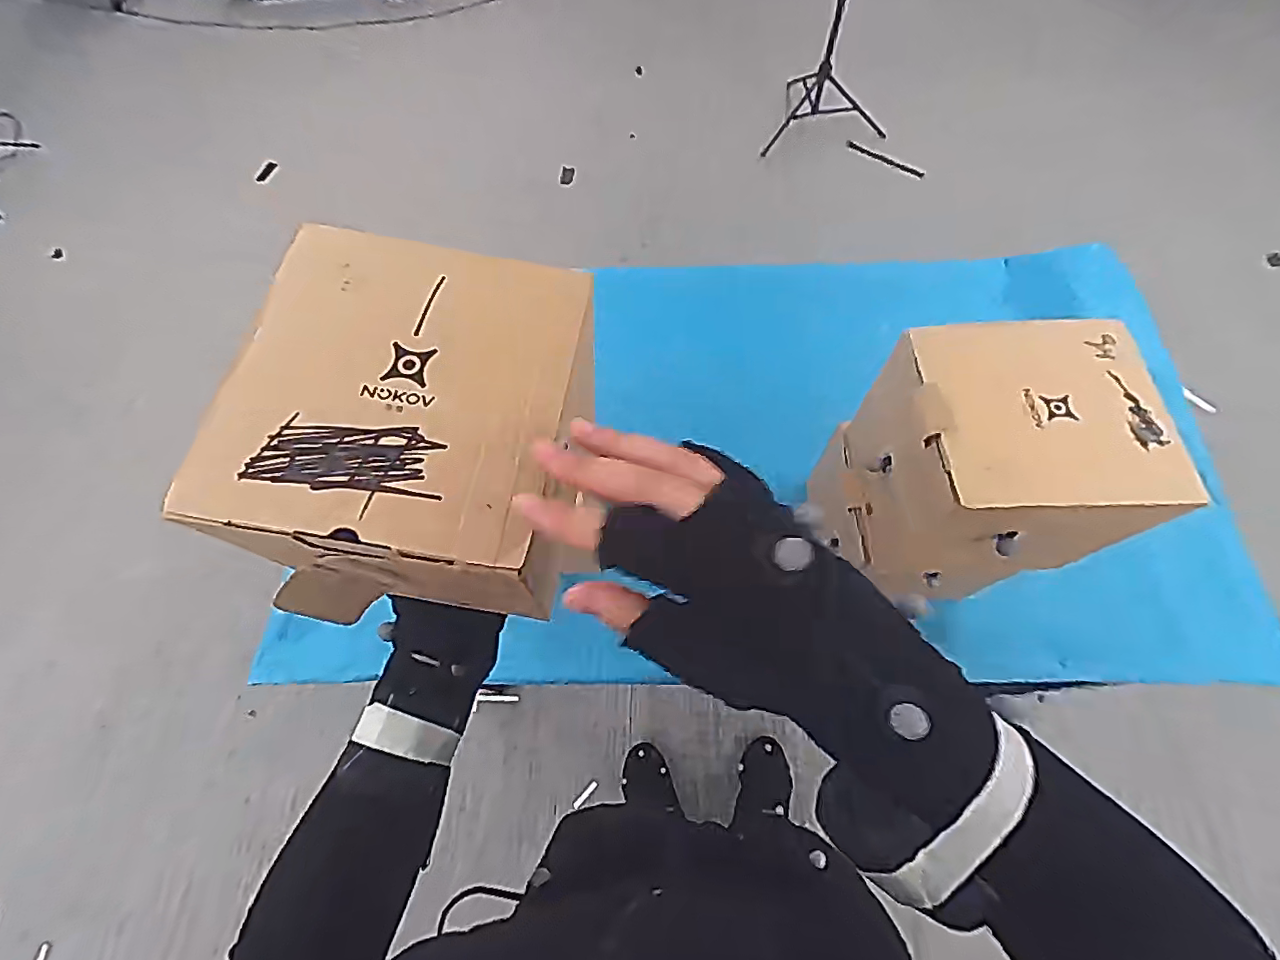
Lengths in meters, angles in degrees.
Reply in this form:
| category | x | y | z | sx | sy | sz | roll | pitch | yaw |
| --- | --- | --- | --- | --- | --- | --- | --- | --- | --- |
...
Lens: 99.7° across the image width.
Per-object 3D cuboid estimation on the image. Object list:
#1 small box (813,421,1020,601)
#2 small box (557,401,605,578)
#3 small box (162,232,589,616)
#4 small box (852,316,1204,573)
| category | x | y | z | sx | sy | sz | roll | pitch | yaw |
| --- | --- | --- | --- | --- | --- | --- | --- | --- | --- |
| small box | 0.308 | 0.043 | 0.632 | 0.179 | 0.176 | 0.168 | -1 | 65 | 4 |
| small box | -0.139 | 0.014 | 0.677 | 0.168 | 0.176 | 0.179 | 1 | 67 | 6 |
| small box | -0.128 | -0.018 | 0.348 | 0.168 | 0.176 | 0.179 | 10 | 68 | 0 |
| small box | 0.305 | -0.020 | 0.482 | 0.179 | 0.176 | 0.168 | -4 | 65 | 1 |
